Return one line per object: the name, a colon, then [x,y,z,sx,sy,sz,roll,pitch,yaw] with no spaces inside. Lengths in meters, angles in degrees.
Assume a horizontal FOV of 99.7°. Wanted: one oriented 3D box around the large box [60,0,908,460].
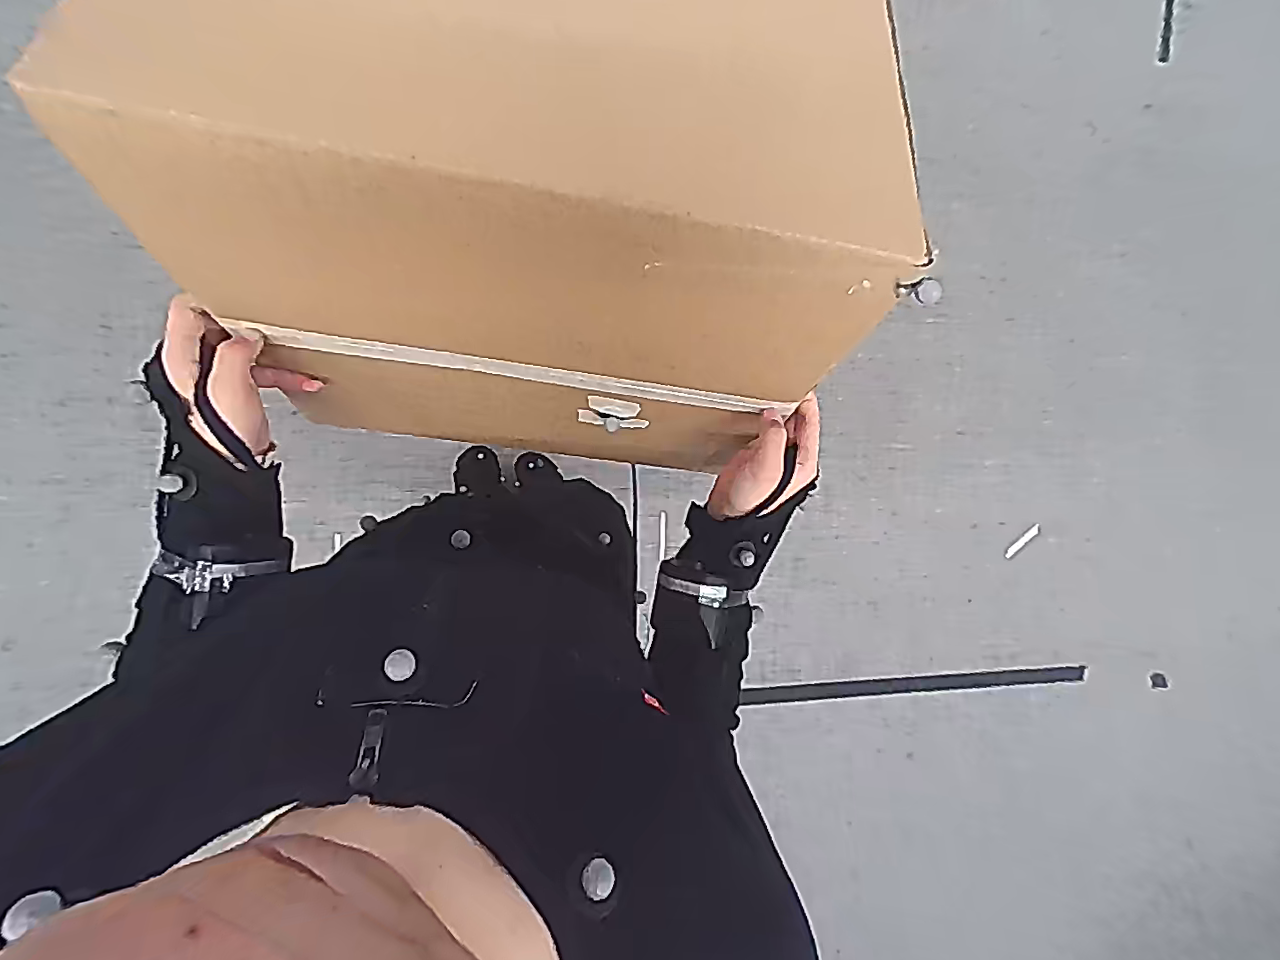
large box: [-0.073,-0.232,0.443,0.408,0.320,0.320,6,71,-8]
